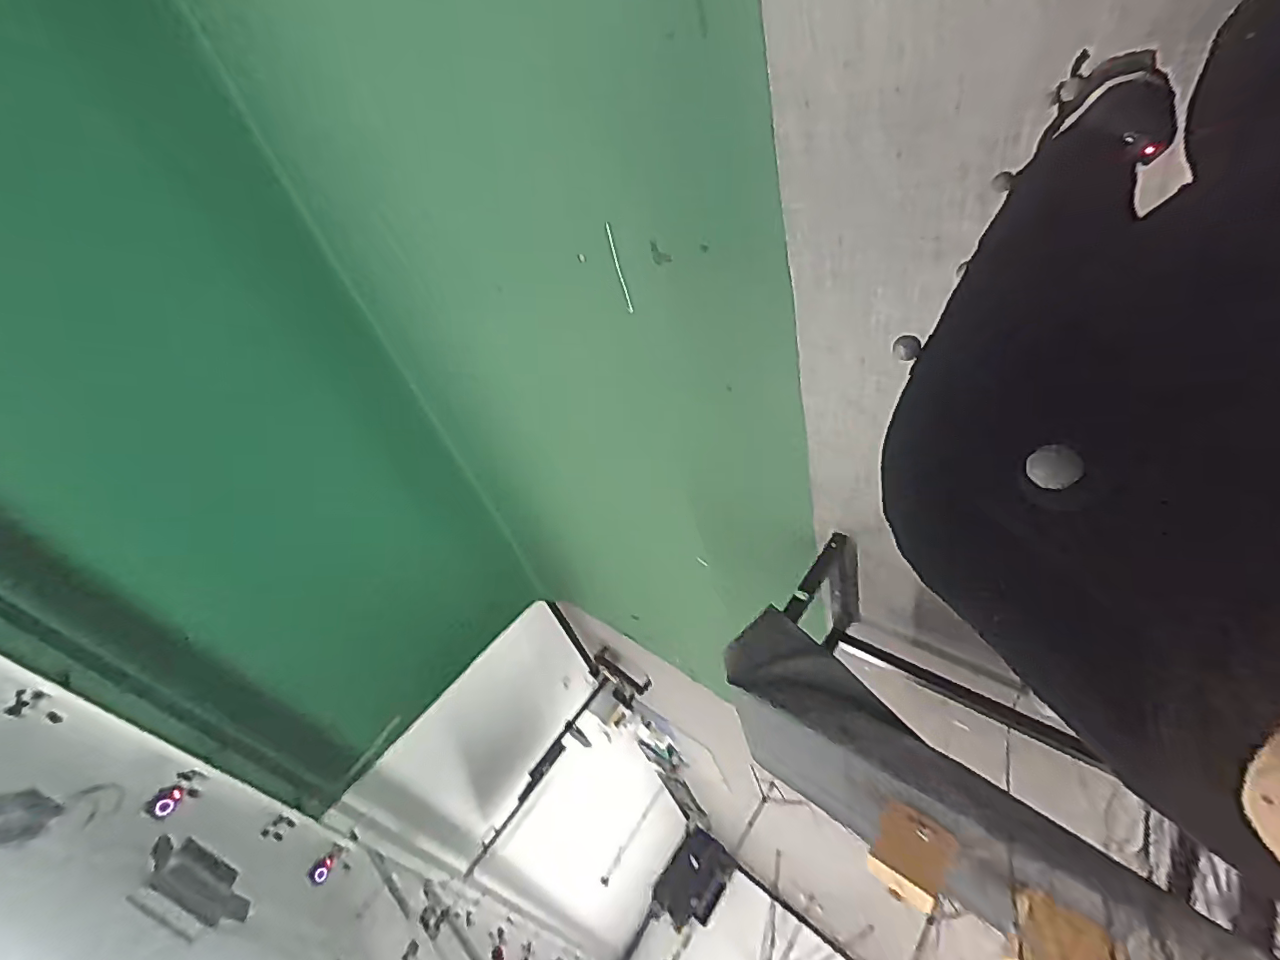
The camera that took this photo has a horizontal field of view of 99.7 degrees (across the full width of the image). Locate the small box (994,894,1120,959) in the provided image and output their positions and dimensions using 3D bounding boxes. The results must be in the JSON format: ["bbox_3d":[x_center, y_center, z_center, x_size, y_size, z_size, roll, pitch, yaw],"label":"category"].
[{"bbox_3d":[0.945,1.088,1.234,0.179,0.176,0.168,23,145,33],"label":"small box"}]

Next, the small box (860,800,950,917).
[{"bbox_3d":[0.698,0.994,1.427,0.168,0.176,0.179,19,142,36],"label":"small box"}]
